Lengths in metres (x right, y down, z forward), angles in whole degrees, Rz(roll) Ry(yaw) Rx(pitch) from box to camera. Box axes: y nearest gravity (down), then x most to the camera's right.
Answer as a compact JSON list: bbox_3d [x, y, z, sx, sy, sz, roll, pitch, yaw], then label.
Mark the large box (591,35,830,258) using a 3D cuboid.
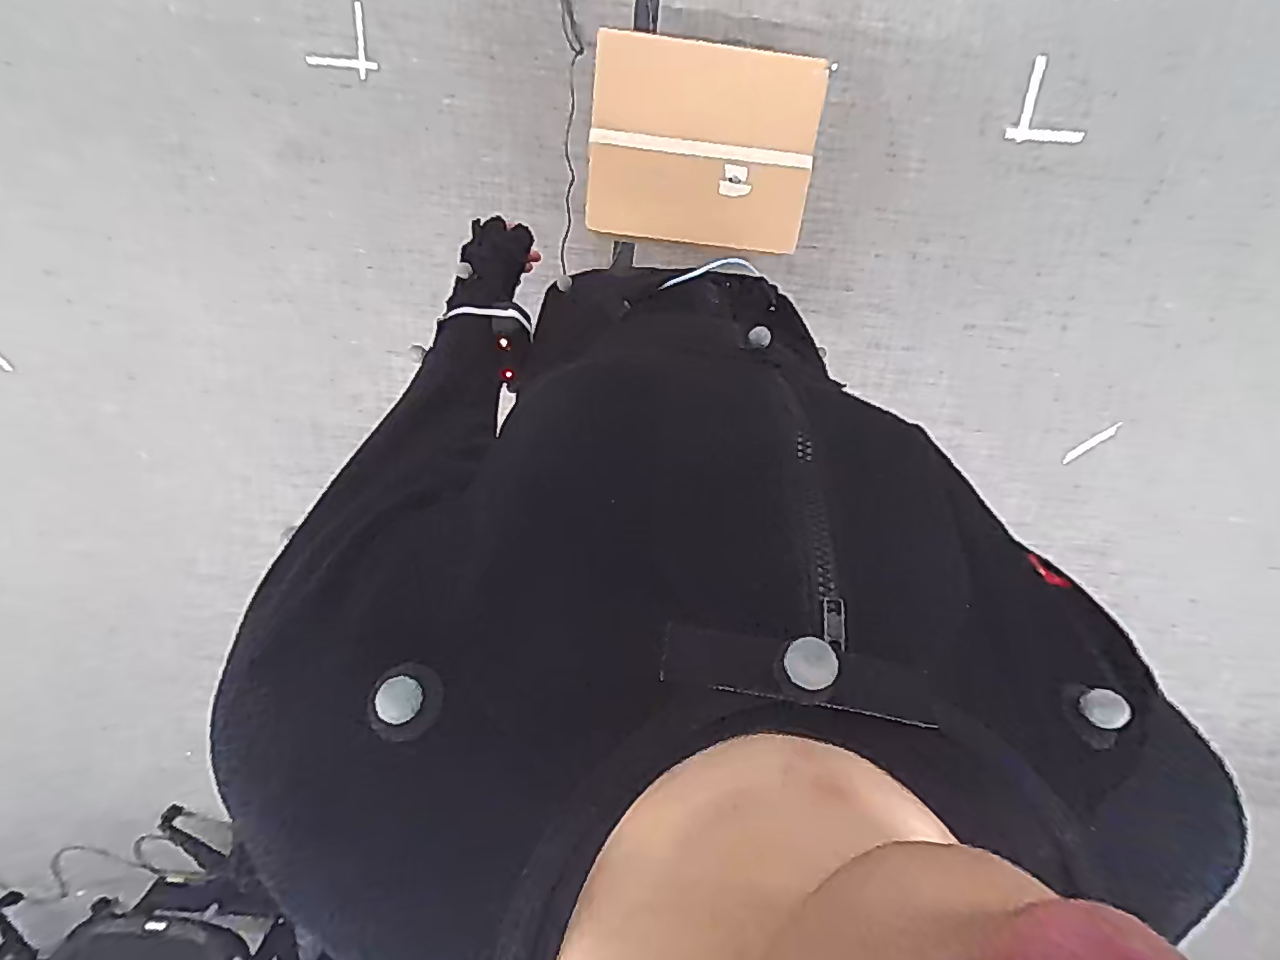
[{"bbox_3d":[0.113,-0.650,1.121,0.408,0.320,0.320,6,112,-4],"label":"large box"}]
